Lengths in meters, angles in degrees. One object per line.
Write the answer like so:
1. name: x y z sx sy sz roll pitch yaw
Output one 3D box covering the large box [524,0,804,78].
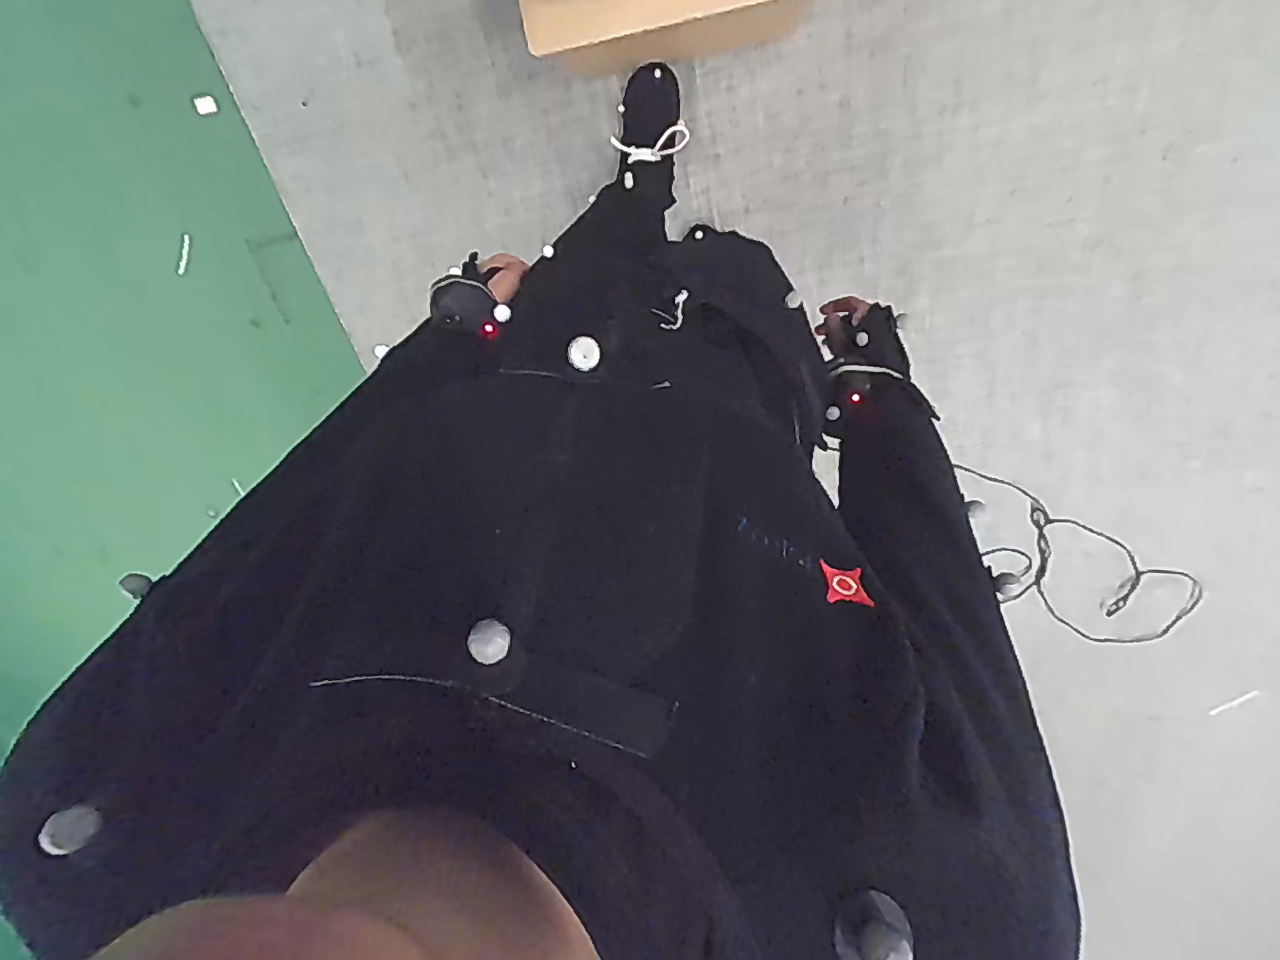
1. large box: 0.031 -0.841 0.798 0.408 0.320 0.320 -4 121 11
